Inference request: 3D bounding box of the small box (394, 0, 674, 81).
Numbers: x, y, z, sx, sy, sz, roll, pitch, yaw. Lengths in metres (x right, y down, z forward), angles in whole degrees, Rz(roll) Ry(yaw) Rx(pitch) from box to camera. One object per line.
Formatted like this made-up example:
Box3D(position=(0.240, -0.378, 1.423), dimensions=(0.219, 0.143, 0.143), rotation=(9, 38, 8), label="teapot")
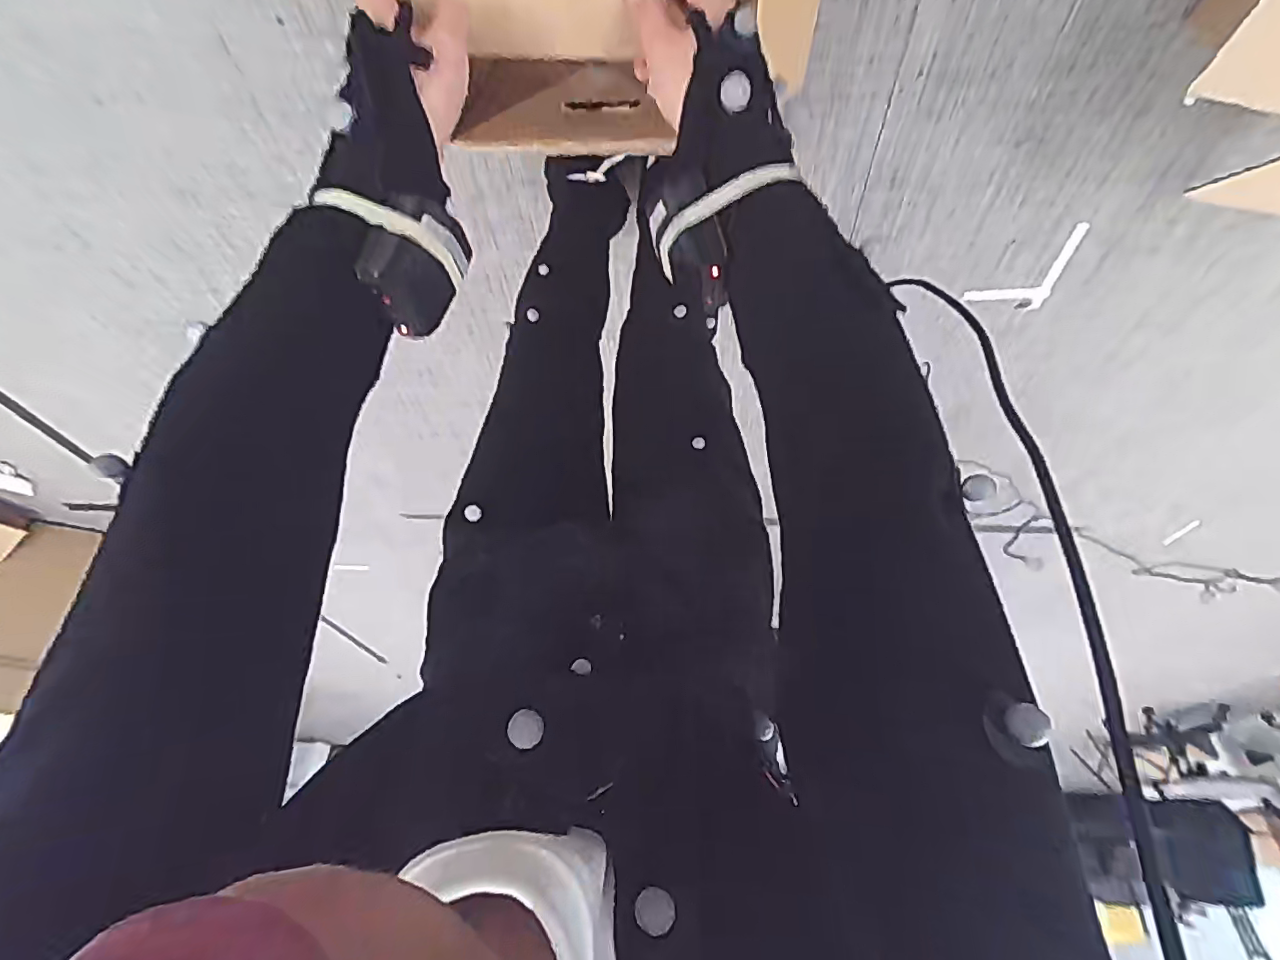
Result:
Box3D(position=(-0.064, -0.384, 0.362), dimensions=(0.179, 0.176, 0.168), rotation=(2, 132, 0), label="small box")
